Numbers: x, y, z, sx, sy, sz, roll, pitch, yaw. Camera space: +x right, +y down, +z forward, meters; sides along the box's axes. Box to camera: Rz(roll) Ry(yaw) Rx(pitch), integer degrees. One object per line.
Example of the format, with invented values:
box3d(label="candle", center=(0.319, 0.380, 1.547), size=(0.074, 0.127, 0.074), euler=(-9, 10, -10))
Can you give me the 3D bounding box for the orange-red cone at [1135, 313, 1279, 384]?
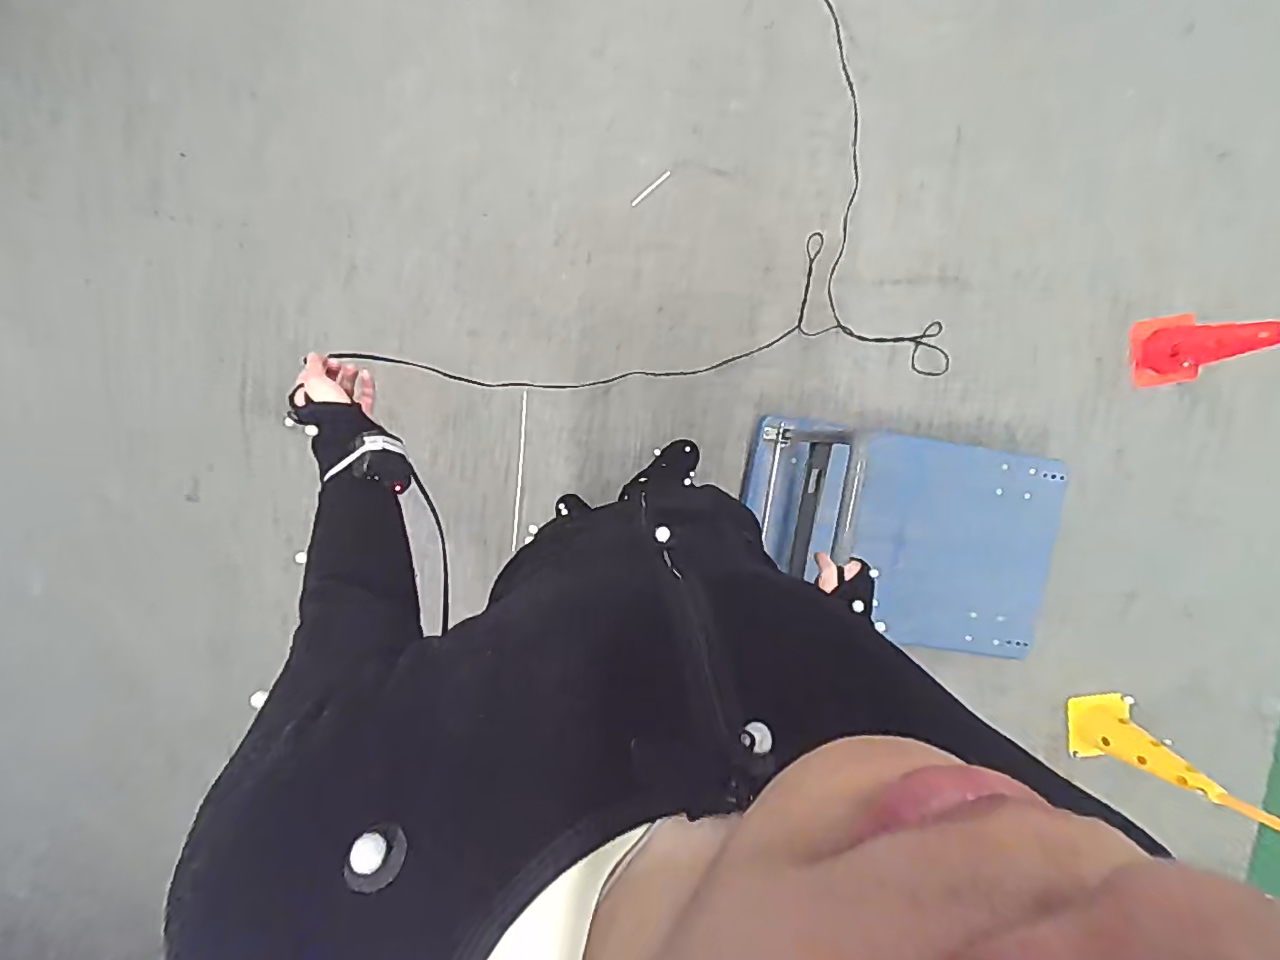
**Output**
box3d(label="orange-red cone", center=(1.598, -0.385, 1.459), size=(0.198, 0.360, 0.199), euler=(-9, 93, -2))
